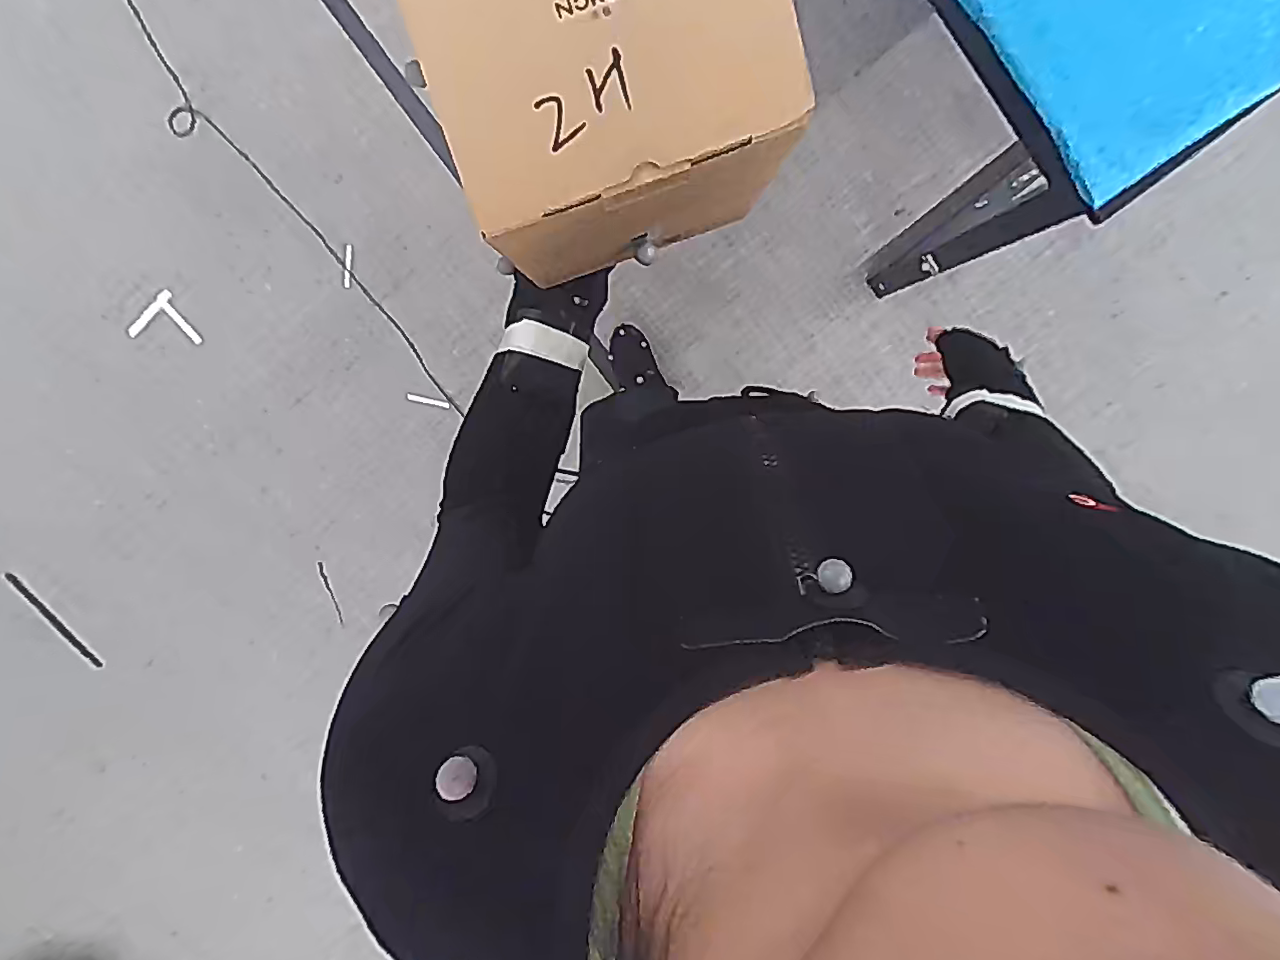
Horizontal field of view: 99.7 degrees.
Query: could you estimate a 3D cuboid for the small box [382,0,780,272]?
[{"bbox_3d":[-0.033,-0.239,0.314,0.168,0.176,0.179,-14,104,4],"label":"small box"}]
